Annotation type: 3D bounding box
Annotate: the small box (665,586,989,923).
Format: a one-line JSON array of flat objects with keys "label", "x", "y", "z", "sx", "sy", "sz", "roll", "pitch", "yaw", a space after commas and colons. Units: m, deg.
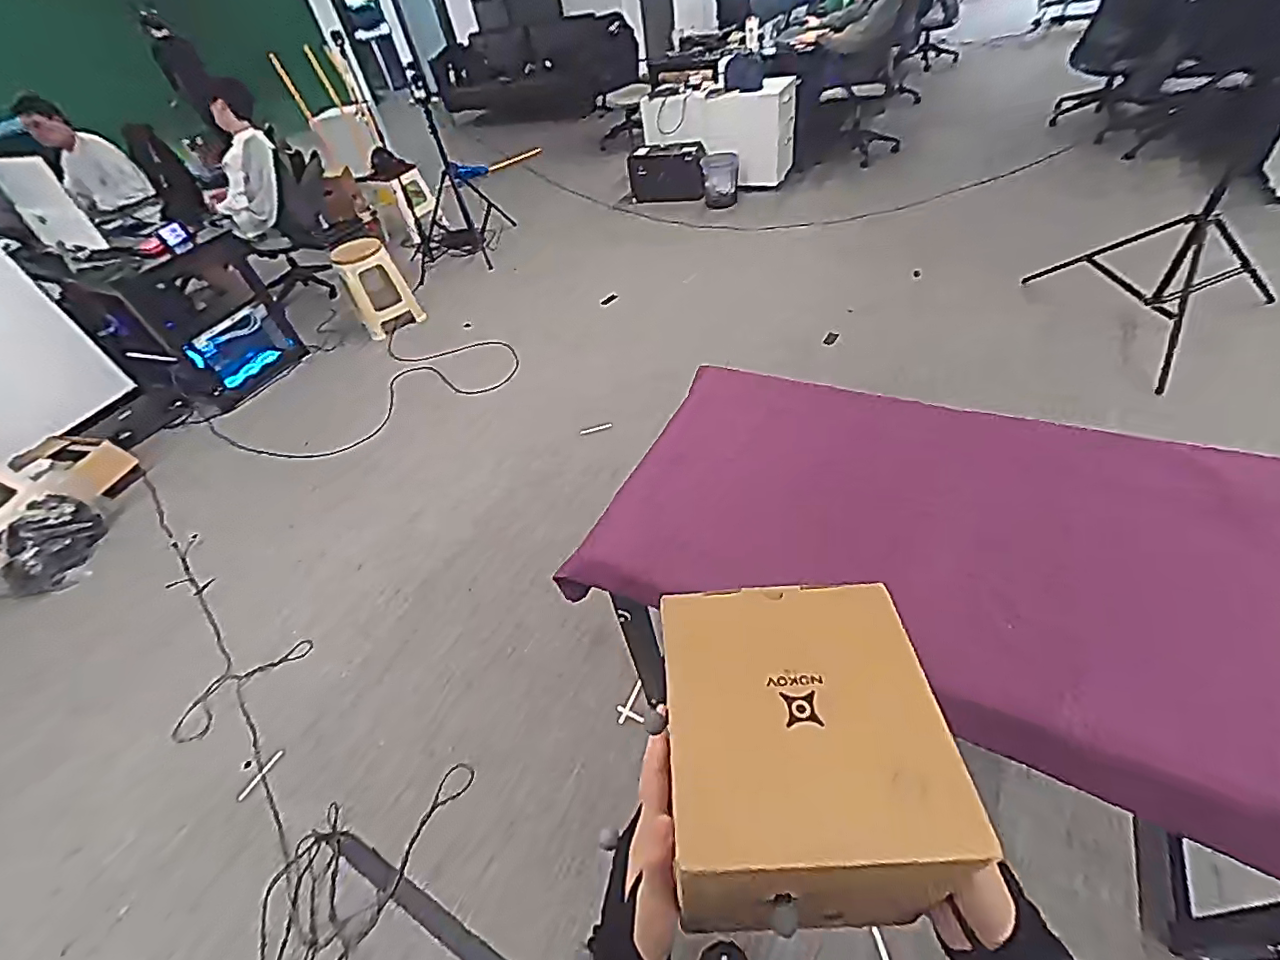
[{"label": "small box", "x": 0.107, "y": 0.202, "z": 0.396, "sx": 0.168, "sy": 0.176, "sz": 0.179, "roll": -4, "pitch": 40, "yaw": 2}]
